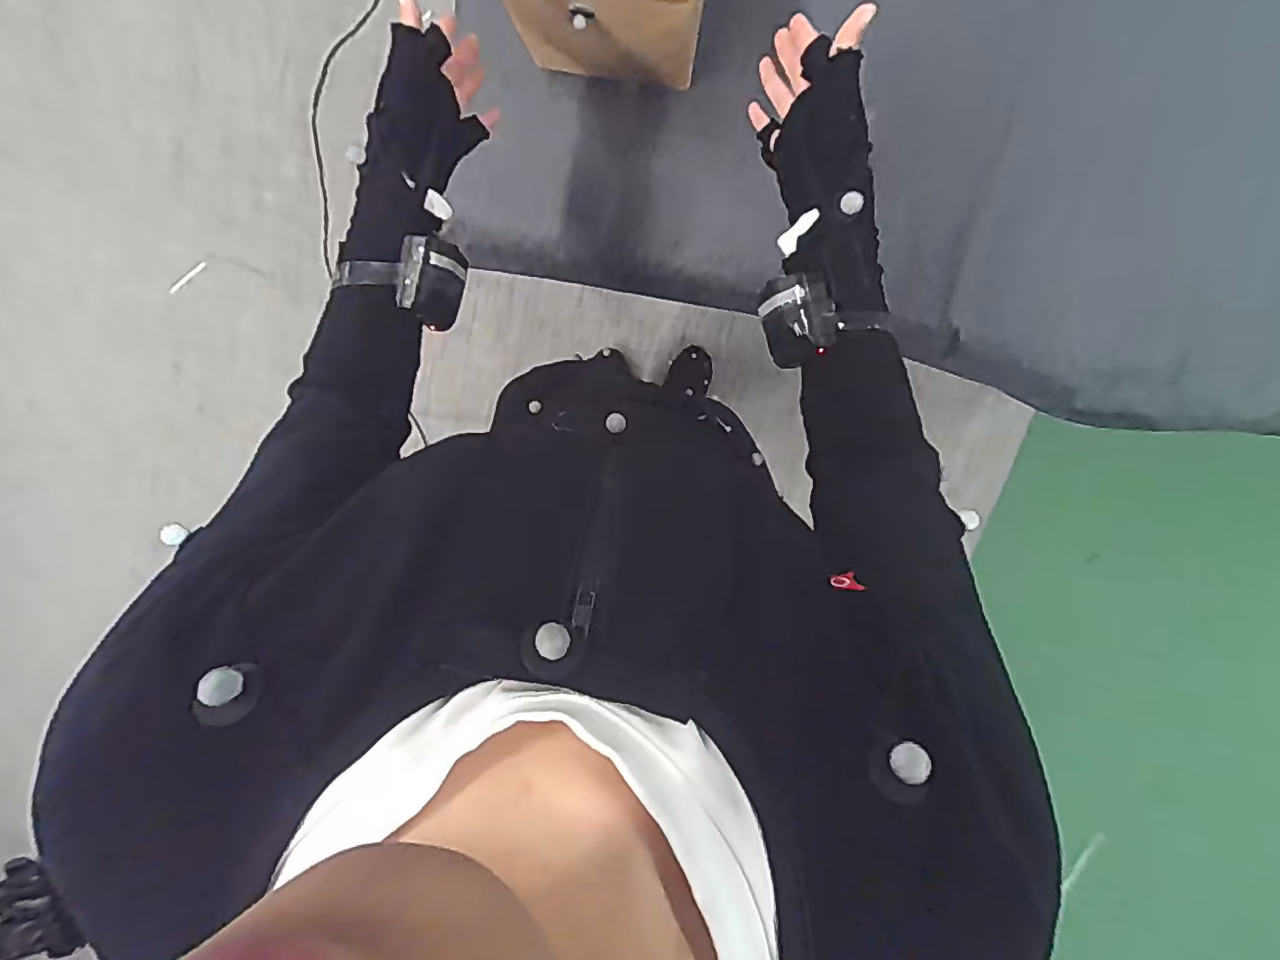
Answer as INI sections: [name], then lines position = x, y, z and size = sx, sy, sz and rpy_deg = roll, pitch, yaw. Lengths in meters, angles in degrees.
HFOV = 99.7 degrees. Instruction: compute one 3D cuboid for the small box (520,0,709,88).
[small box]
position = -0.019, -0.511, 0.517
size = 0.179, 0.176, 0.168
rpy_deg = 11, 105, 2
